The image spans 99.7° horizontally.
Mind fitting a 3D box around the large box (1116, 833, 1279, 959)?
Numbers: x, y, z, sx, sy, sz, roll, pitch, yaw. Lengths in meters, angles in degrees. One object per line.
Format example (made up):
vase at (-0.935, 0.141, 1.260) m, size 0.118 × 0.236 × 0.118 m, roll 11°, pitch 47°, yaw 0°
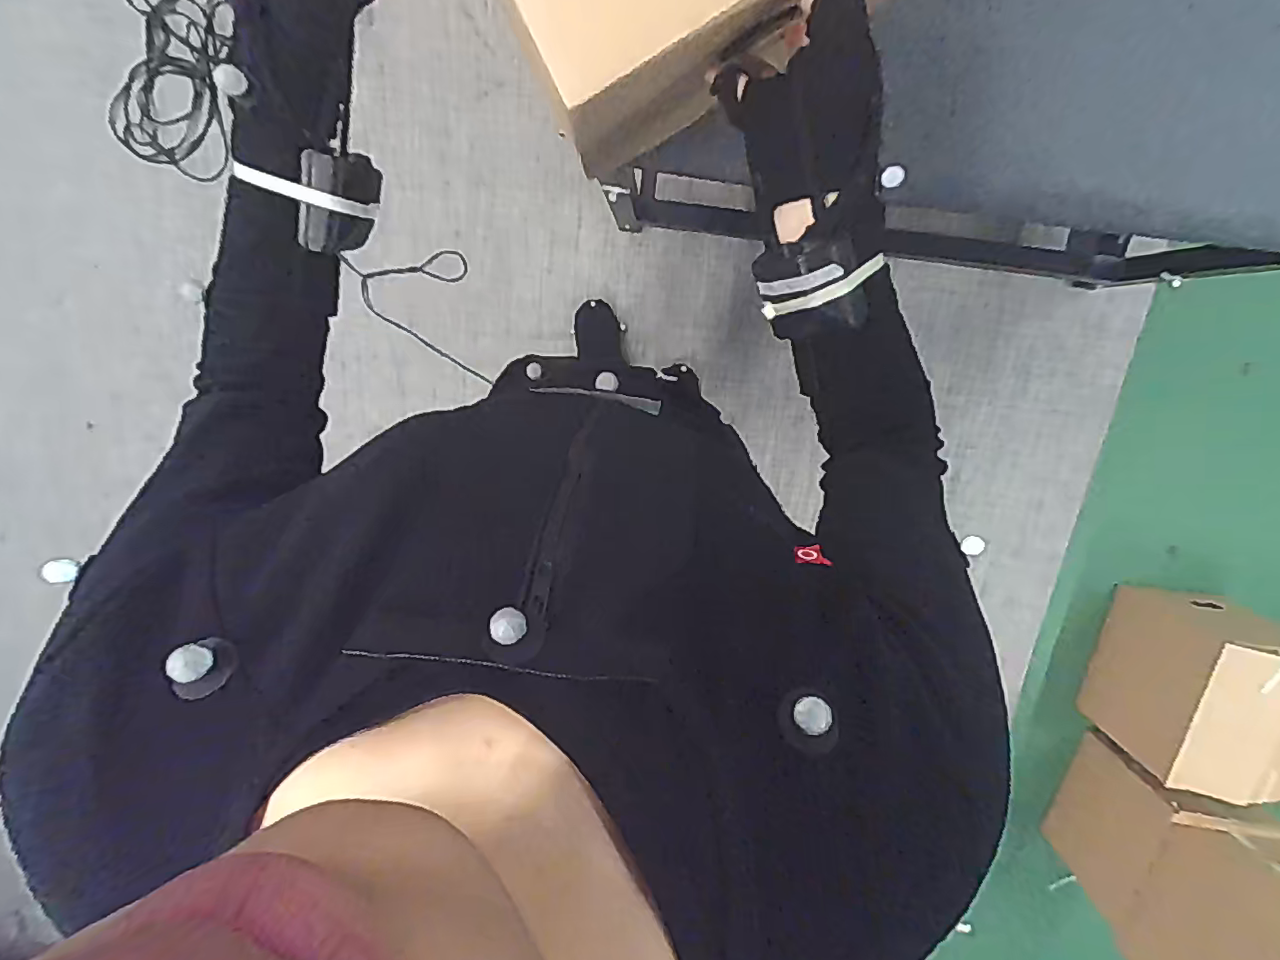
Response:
large box at (1.439, 1.119, 1.253) m, size 0.320 × 0.320 × 0.408 m, roll 9°, pitch 106°, yaw 1°
